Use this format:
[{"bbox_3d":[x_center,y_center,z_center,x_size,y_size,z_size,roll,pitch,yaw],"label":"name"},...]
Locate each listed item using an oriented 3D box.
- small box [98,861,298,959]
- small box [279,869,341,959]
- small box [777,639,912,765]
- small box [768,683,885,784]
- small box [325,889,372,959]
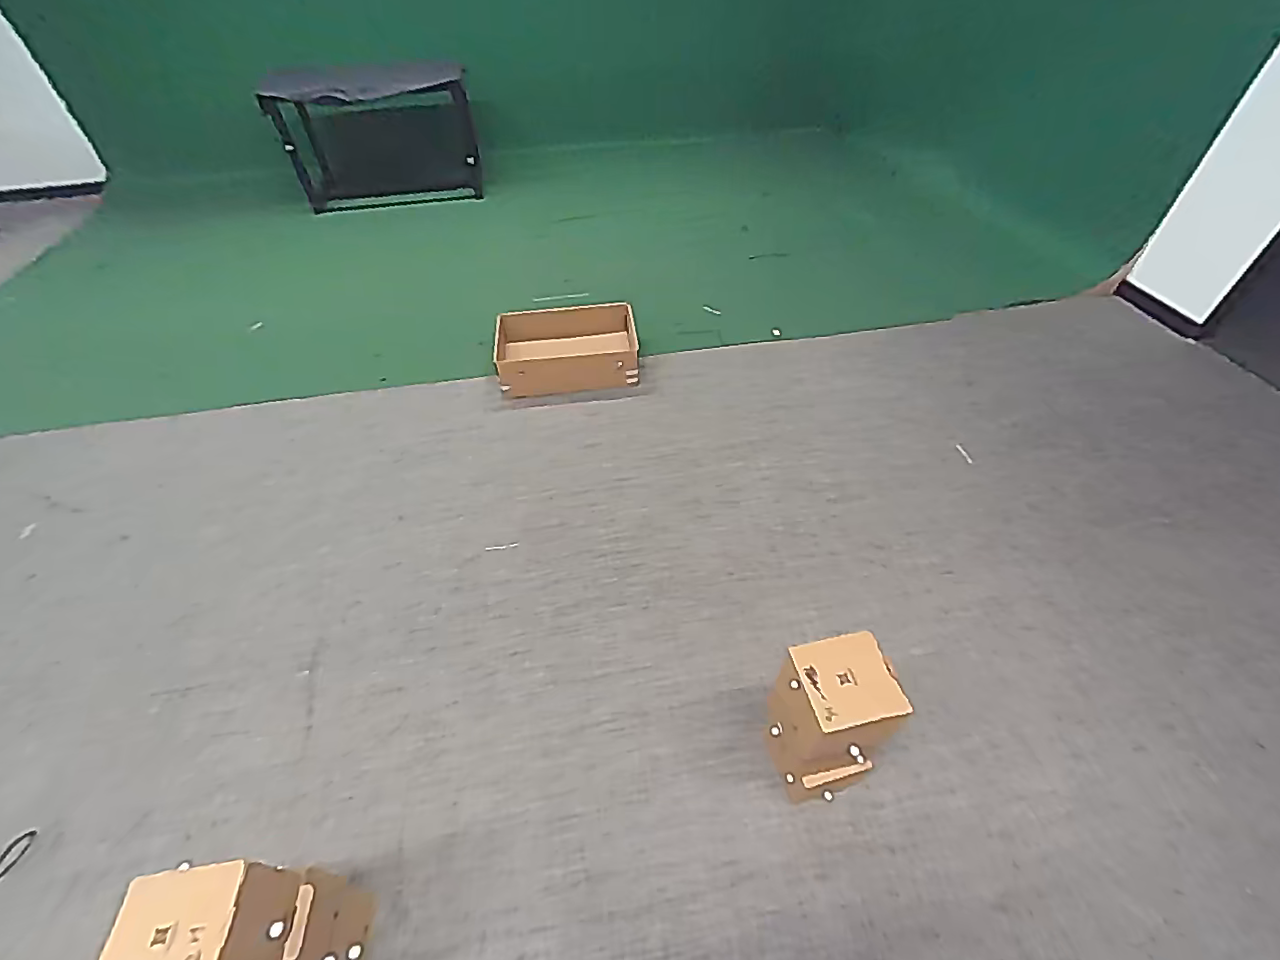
[{"bbox_3d":[-0.678,0.711,0.833,0.179,0.176,0.168,-7,47,-3],"label":"small box"},{"bbox_3d":[-0.668,0.813,0.963,0.179,0.176,0.168,-7,47,-3],"label":"small box"},{"bbox_3d":[0.390,0.438,1.065,0.179,0.176,0.168,-9,47,-7],"label":"small box"},{"bbox_3d":[0.398,0.545,1.190,0.179,0.176,0.168,-10,47,-6],"label":"small box"},{"bbox_3d":[-0.661,0.934,1.075,0.179,0.176,0.168,-7,47,-4],"label":"small box"}]
